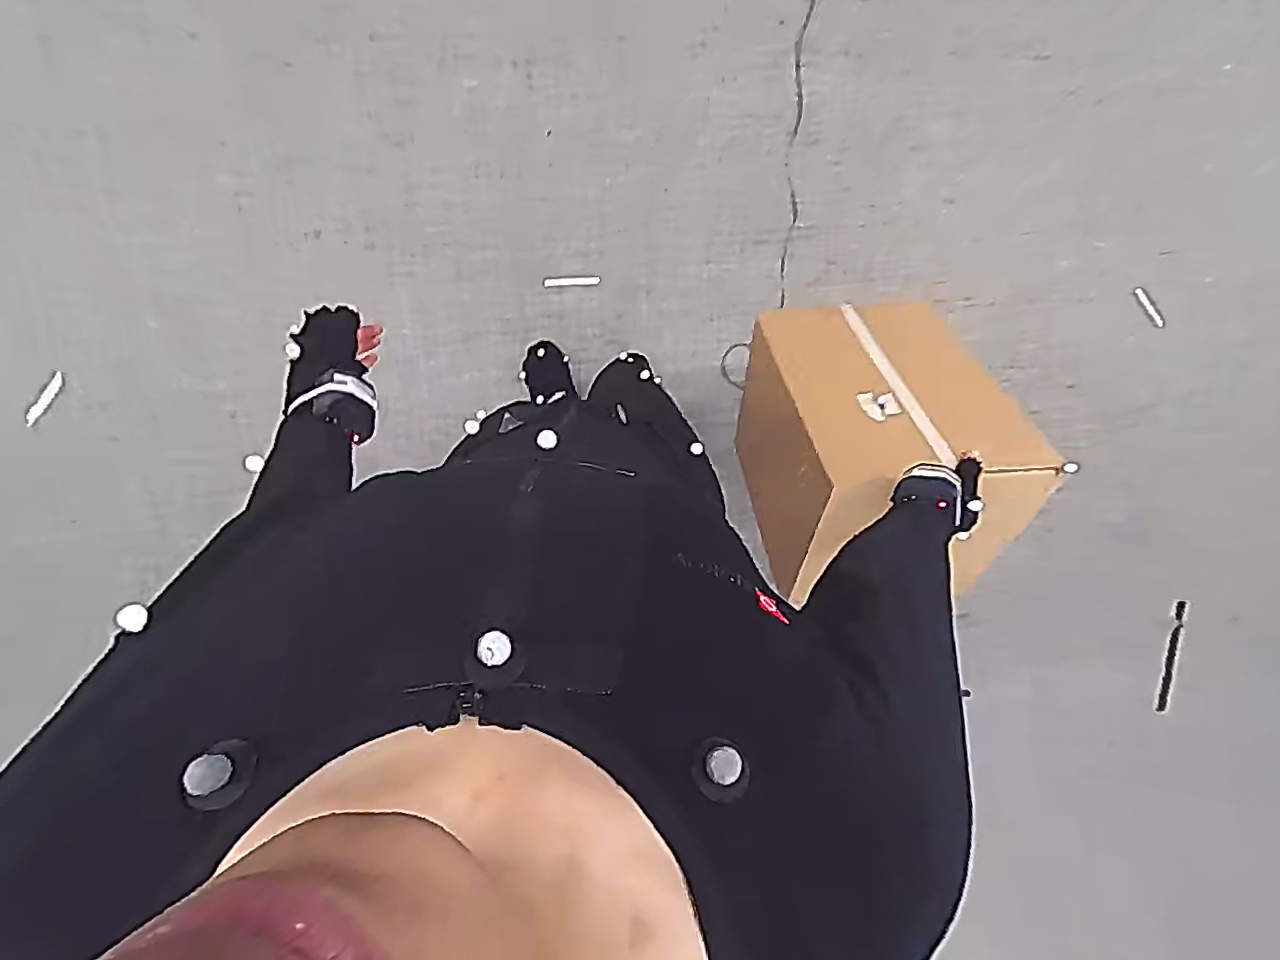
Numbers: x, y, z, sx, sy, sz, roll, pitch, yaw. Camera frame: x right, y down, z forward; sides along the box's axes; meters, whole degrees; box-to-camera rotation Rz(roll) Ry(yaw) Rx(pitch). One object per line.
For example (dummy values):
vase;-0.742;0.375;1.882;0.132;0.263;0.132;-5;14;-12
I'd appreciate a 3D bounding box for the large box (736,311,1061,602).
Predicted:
large box;0.379;-0.048;0.937;0.320;0.408;0.320;-5;139;-4
